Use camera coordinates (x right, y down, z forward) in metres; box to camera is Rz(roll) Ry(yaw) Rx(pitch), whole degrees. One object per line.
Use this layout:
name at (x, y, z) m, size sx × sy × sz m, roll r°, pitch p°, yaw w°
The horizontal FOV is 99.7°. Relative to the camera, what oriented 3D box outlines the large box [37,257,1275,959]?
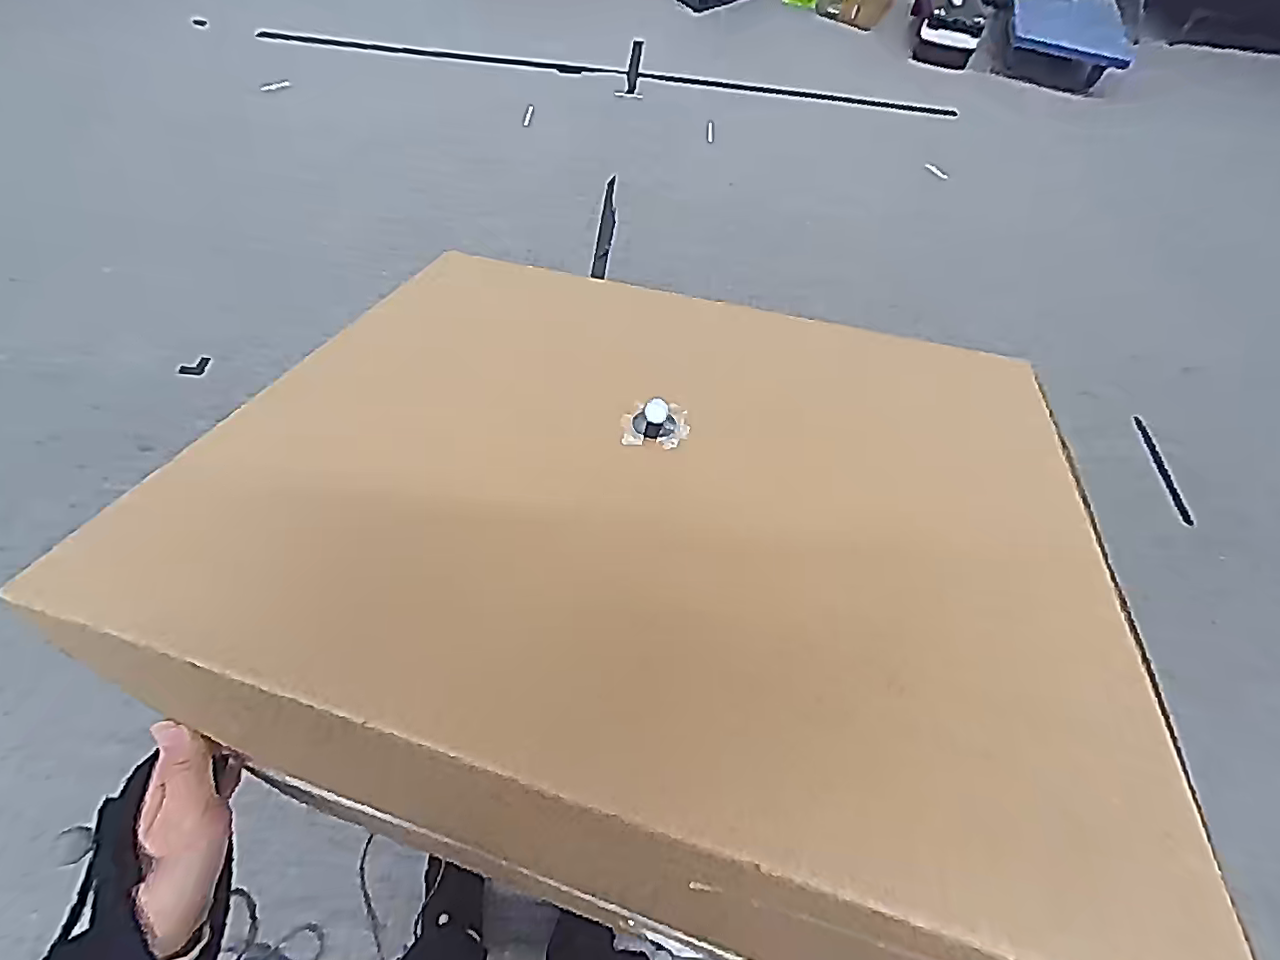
large box at (0.000, 0.079, 0.369) m, size 0.408 × 0.320 × 0.320 m, roll 13°, pitch 48°, yaw 10°
